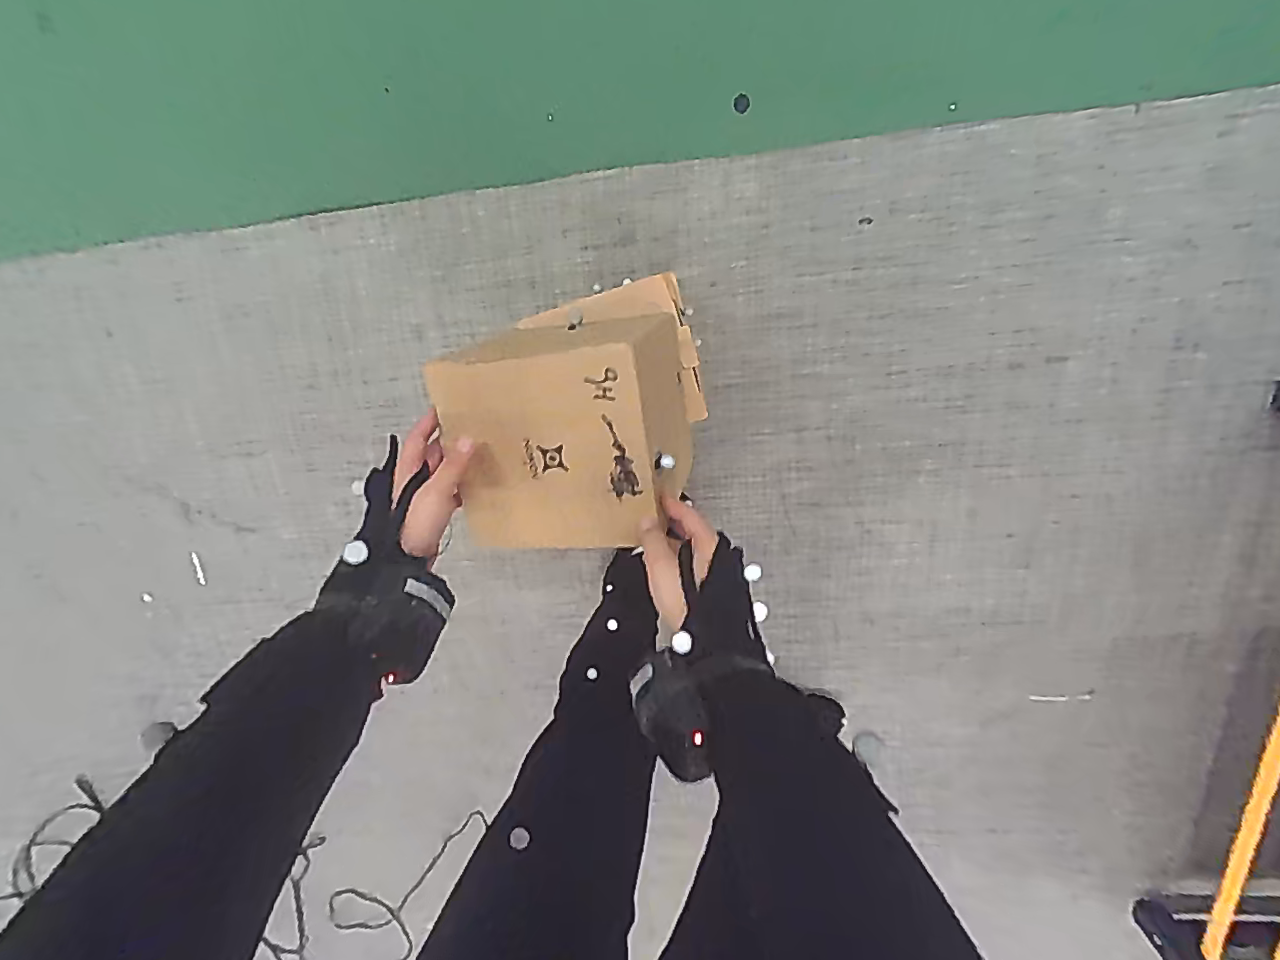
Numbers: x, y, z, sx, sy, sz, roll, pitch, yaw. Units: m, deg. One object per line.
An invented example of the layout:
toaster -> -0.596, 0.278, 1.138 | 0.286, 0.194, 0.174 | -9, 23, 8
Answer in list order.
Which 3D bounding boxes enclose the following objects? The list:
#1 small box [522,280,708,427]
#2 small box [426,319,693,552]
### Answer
small box -> -0.021, -0.141, 0.684 | 0.179, 0.176, 0.168 | -16, 103, 10
small box -> -0.057, -0.048, 0.504 | 0.179, 0.176, 0.168 | -2, 114, 17
